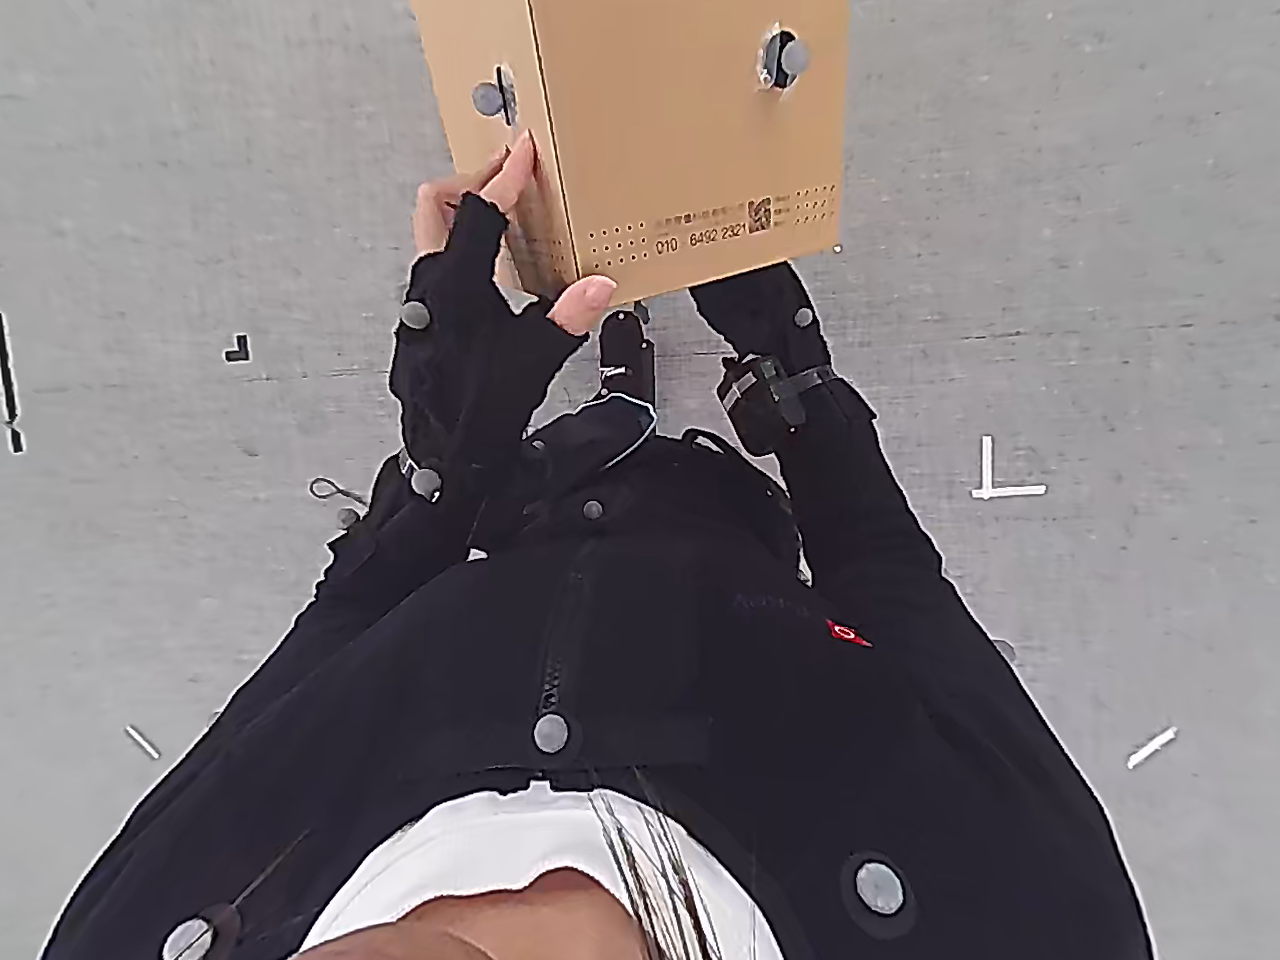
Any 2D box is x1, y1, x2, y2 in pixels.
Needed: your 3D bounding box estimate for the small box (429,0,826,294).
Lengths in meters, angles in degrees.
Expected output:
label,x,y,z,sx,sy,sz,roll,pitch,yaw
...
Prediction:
label,x,y,z,sx,sy,sz,roll,pitch,yaw
small box,-0.006,-0.217,0.322,0.168,0.179,0.176,-21,122,-22
